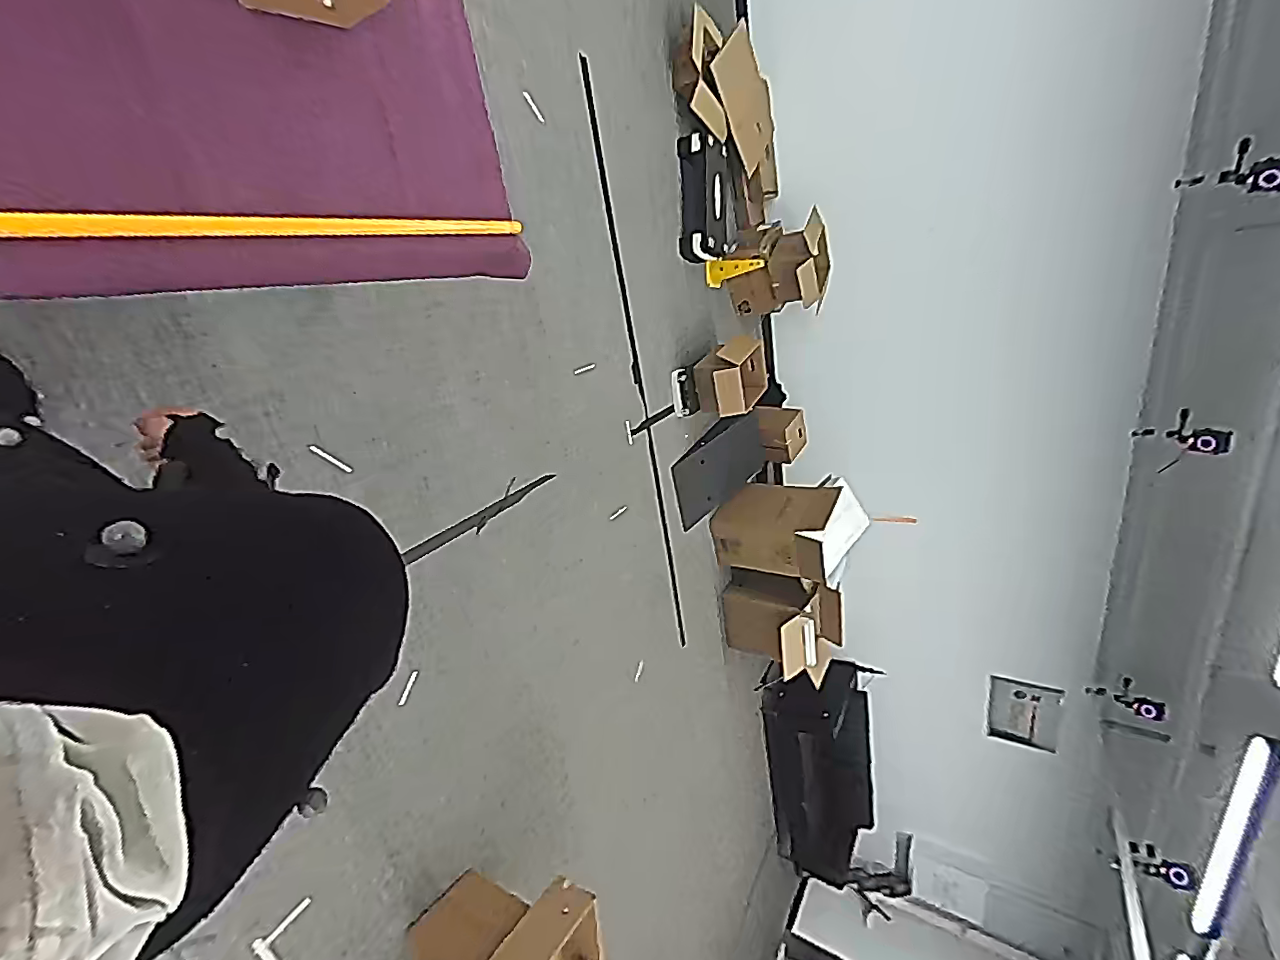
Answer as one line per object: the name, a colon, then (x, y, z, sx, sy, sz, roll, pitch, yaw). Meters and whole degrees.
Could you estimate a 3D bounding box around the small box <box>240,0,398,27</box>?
small box: (-0.477, -0.782, 0.767, 0.179, 0.176, 0.168, -39, 126, -47)
